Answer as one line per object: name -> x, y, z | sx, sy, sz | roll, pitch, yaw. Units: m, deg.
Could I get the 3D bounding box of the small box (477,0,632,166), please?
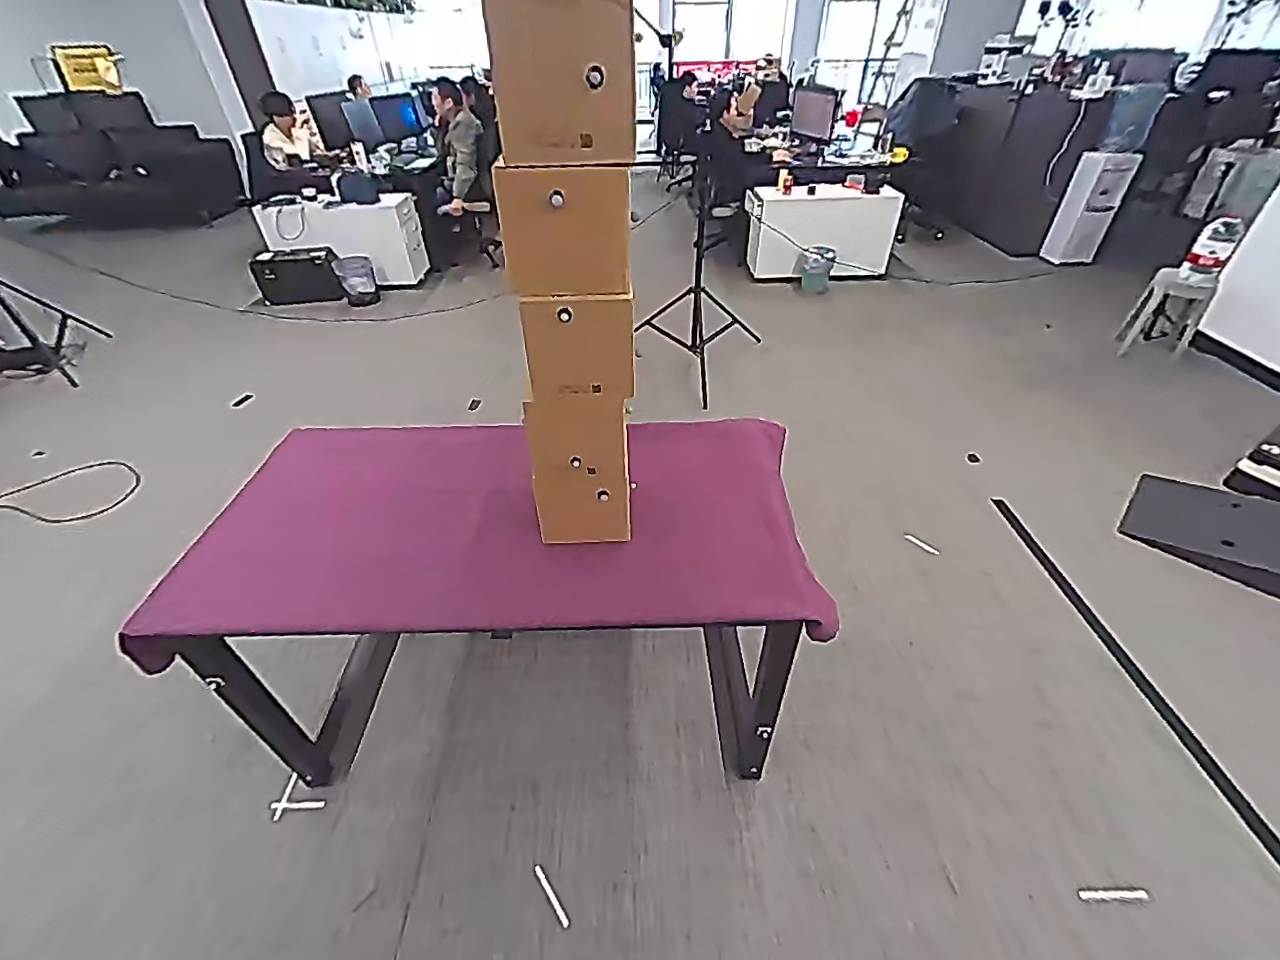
small box -> -0.097, -0.505, 0.690 | 0.168, 0.176, 0.179 | -3, 38, -4

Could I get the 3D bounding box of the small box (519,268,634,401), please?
small box -> -0.094, -0.243, 0.883 | 0.168, 0.176, 0.179 | -2, 39, -1

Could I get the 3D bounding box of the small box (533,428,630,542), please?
small box -> -0.109, 0.011, 1.088 | 0.179, 0.176, 0.168 | -3, 38, -1

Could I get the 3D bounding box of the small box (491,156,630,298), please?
small box -> -0.104, -0.377, 0.789 | 0.179, 0.176, 0.168 | -3, 39, -2
